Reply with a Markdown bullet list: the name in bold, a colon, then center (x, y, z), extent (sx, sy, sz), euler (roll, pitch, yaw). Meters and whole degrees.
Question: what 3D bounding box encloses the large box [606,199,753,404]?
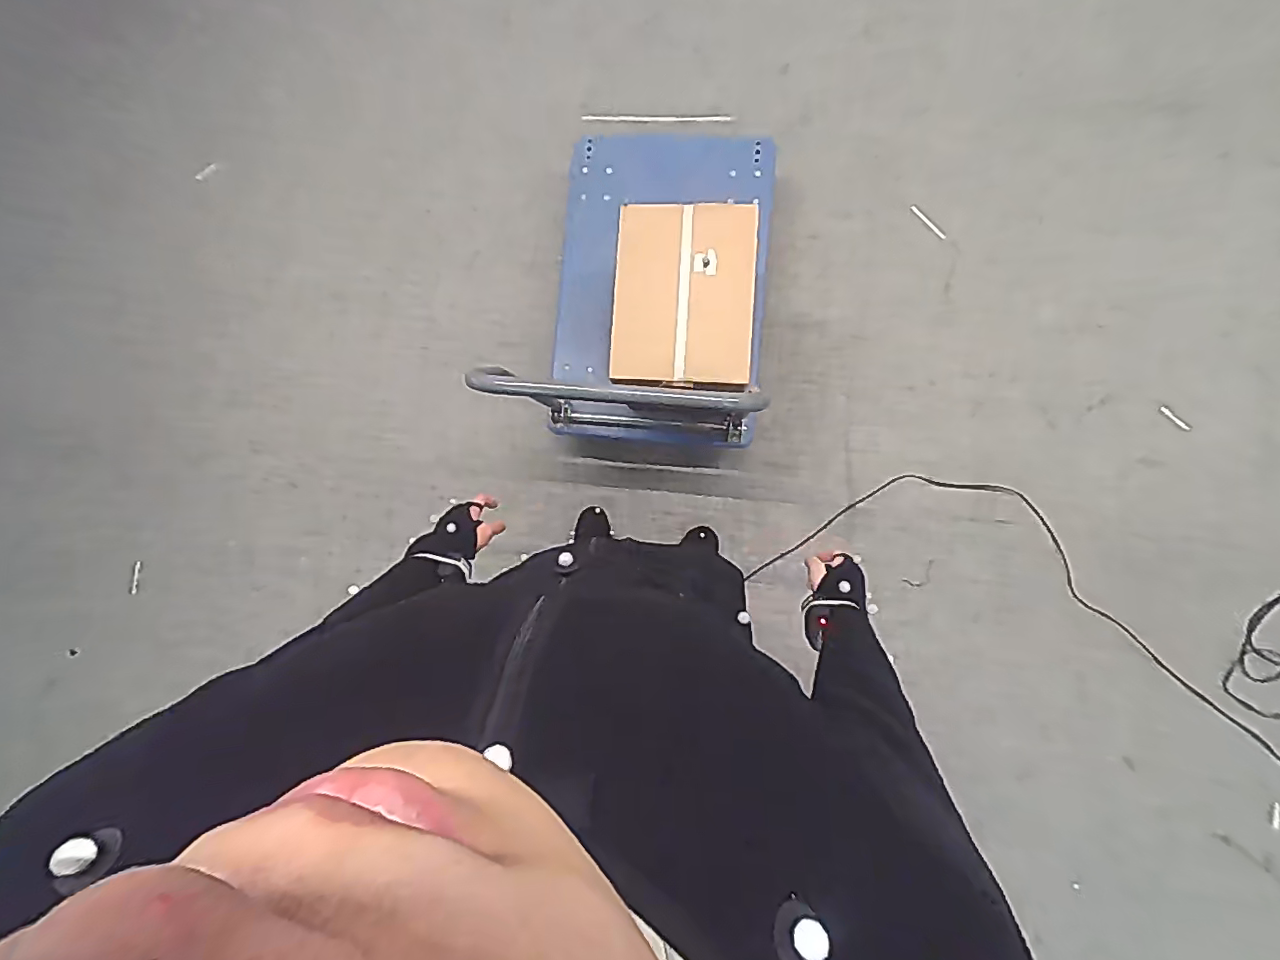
- **large box**: center (0.103, -0.416, 1.342), extent (0.320, 0.320, 0.408), euler (4, 87, 5)
